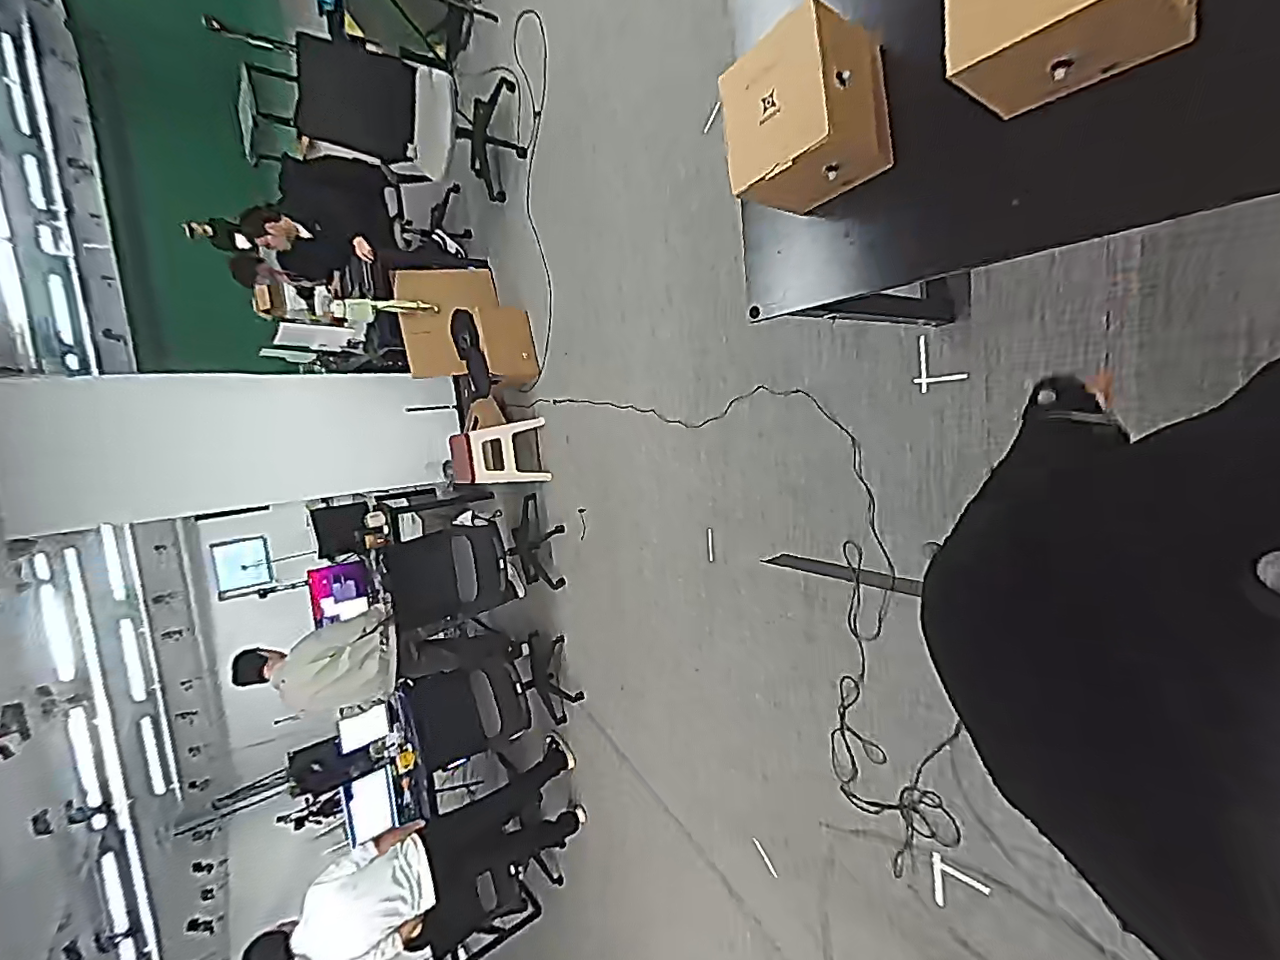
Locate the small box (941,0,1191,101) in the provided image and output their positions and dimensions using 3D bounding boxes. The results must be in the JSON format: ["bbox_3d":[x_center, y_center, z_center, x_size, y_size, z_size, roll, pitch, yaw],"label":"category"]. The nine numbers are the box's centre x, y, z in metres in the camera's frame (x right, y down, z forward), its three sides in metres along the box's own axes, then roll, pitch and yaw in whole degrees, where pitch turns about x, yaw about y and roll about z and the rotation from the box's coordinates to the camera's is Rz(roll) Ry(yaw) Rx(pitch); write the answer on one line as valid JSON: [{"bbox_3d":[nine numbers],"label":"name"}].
[{"bbox_3d":[0.422,-0.513,0.536,0.168,0.176,0.179,5,102,52],"label":"small box"}]

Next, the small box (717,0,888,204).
[{"bbox_3d":[0.237,-0.523,0.782,0.168,0.176,0.179,-5,93,52],"label":"small box"}]
